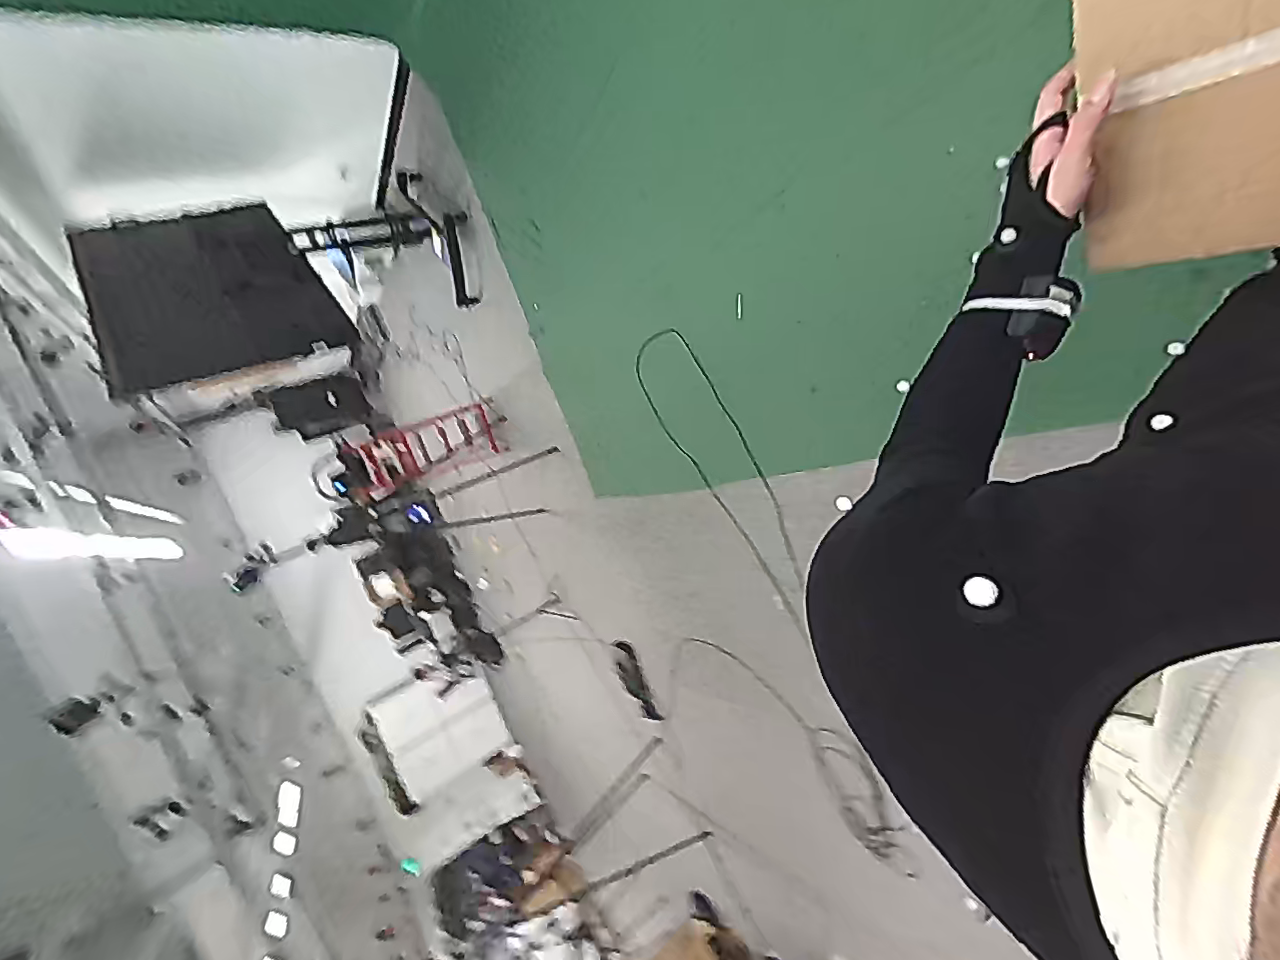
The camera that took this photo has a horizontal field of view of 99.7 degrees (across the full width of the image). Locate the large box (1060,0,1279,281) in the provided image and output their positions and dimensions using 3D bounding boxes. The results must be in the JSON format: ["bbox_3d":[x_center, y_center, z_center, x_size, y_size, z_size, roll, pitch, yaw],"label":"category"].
[{"bbox_3d":[0.614,-0.400,0.412,0.408,0.320,0.320,8,135,50],"label":"large box"}]
